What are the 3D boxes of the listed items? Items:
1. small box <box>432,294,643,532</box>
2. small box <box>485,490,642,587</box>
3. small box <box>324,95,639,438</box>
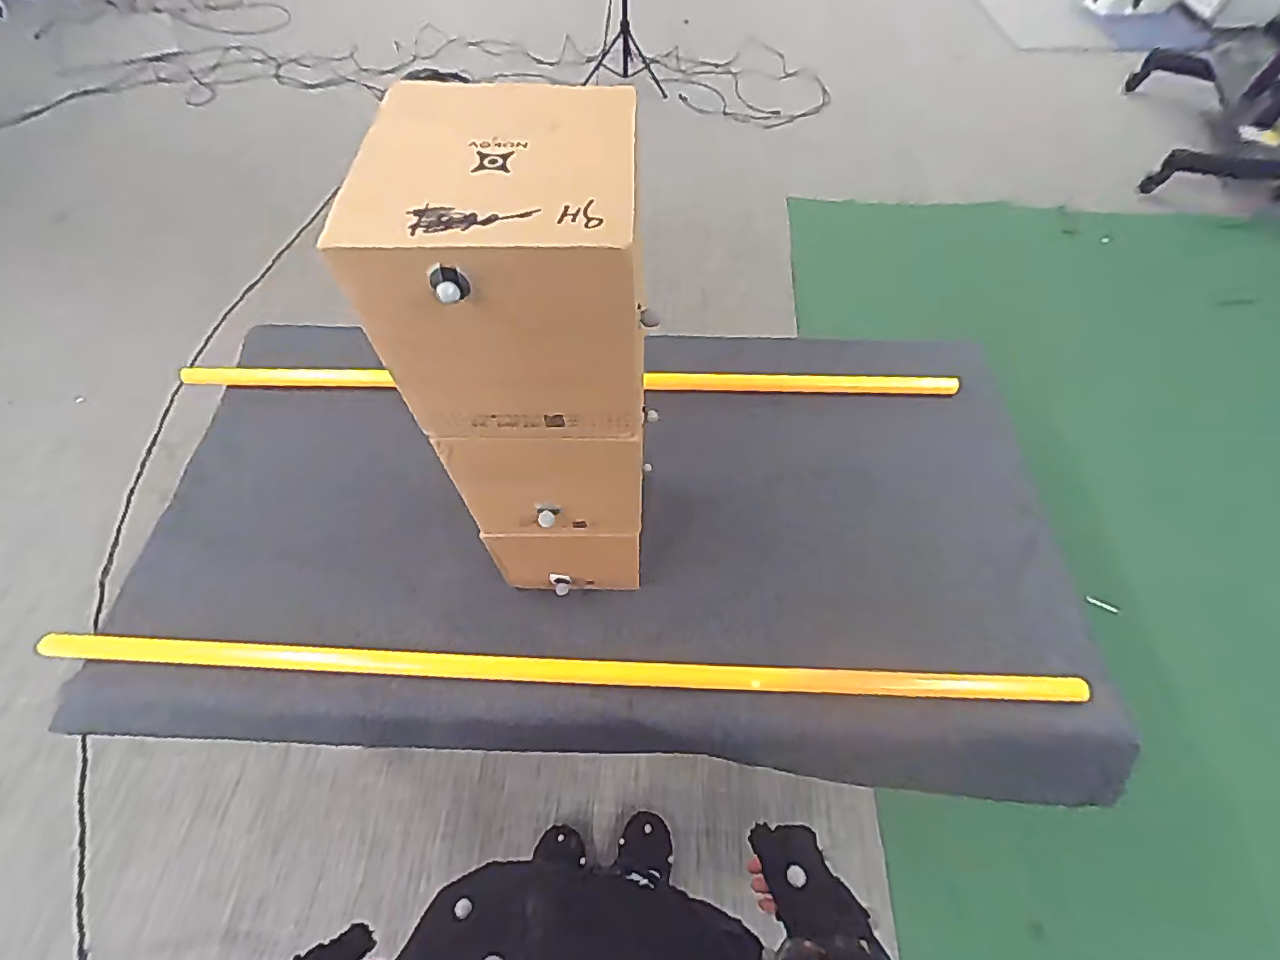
[{"bbox_3d":[-0.082,-0.064,0.537,0.168,0.176,0.179,0,59,1],"label":"small box"},{"bbox_3d":[-0.082,0.023,0.677,0.168,0.176,0.179,-1,60,0],"label":"small box"},{"bbox_3d":[-0.086,-0.151,0.398,0.168,0.176,0.179,0,58,1],"label":"small box"}]
